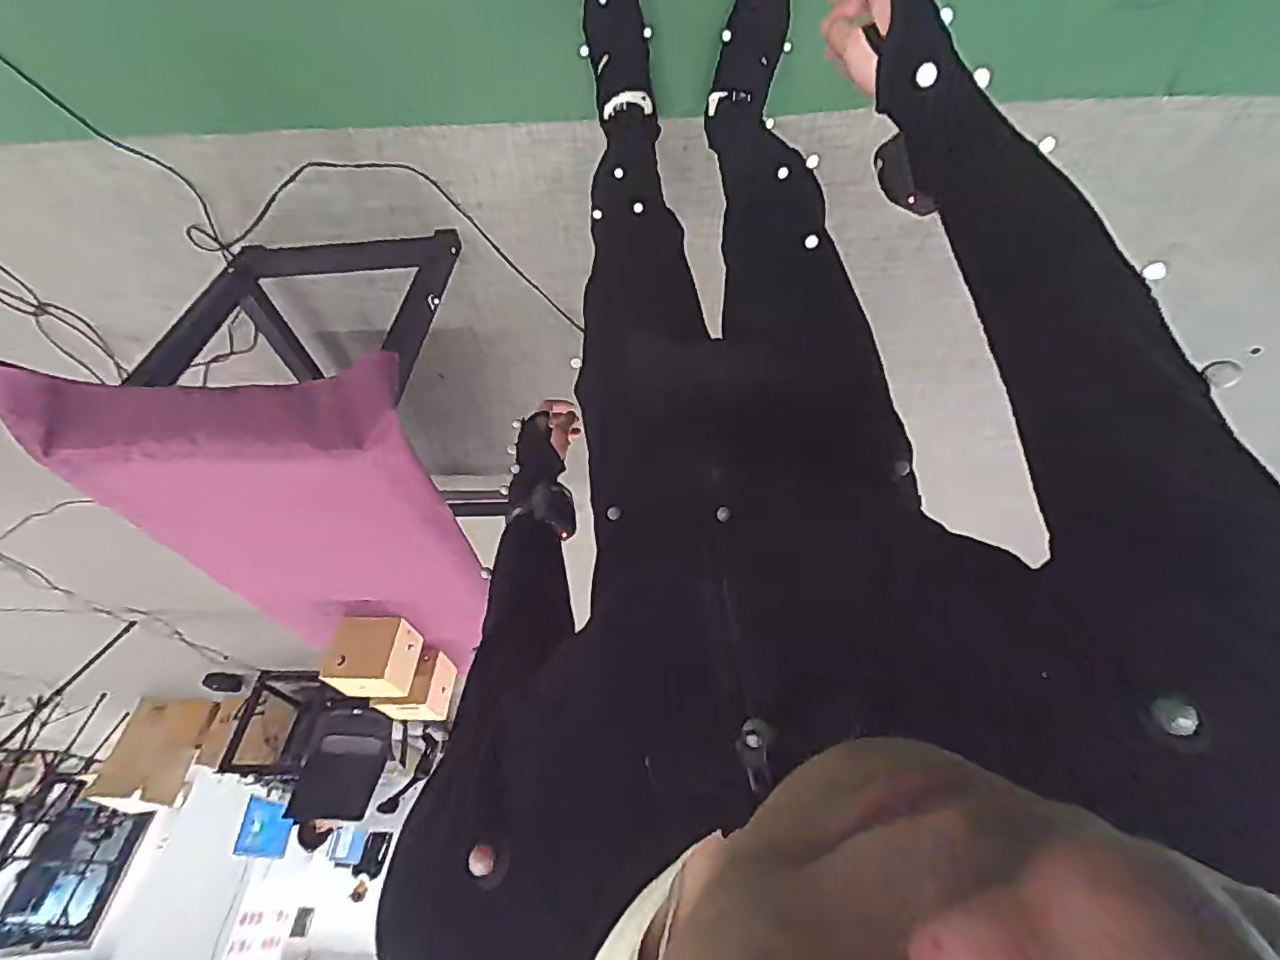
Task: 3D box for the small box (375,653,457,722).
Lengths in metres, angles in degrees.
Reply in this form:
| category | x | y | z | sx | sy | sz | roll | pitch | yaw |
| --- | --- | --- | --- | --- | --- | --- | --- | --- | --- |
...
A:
| category | x | y | z | sx | sy | sz | roll | pitch | yaw |
| --- | --- | --- | --- | --- | --- | --- | --- | --- | --- |
| small box | -0.689 | 0.643 | 1.683 | 0.168 | 0.176 | 0.179 | 0 | 144 | 3 |

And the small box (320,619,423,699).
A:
| category | x | y | z | sx | sy | sz | roll | pitch | yaw |
| --- | --- | --- | --- | --- | --- | --- | --- | --- | --- |
| small box | -0.724 | 0.489 | 1.482 | 0.179 | 0.176 | 0.168 | 0 | 143 | 2 |
